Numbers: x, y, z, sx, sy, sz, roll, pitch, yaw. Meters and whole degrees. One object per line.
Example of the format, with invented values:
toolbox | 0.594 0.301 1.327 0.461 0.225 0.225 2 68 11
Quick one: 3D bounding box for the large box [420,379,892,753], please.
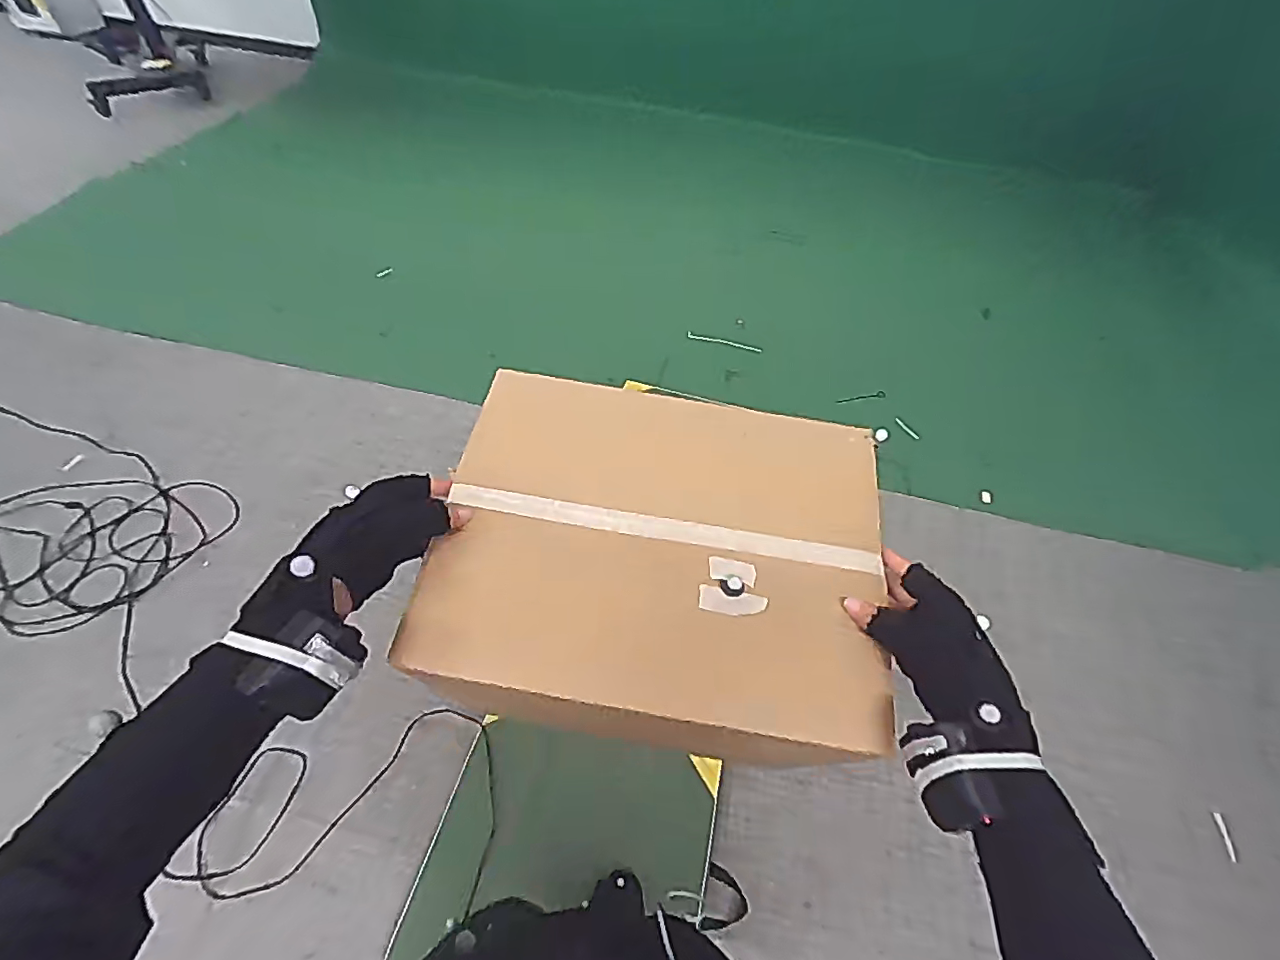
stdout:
large box | 0.020 0.120 0.645 0.408 0.320 0.320 10 61 1
